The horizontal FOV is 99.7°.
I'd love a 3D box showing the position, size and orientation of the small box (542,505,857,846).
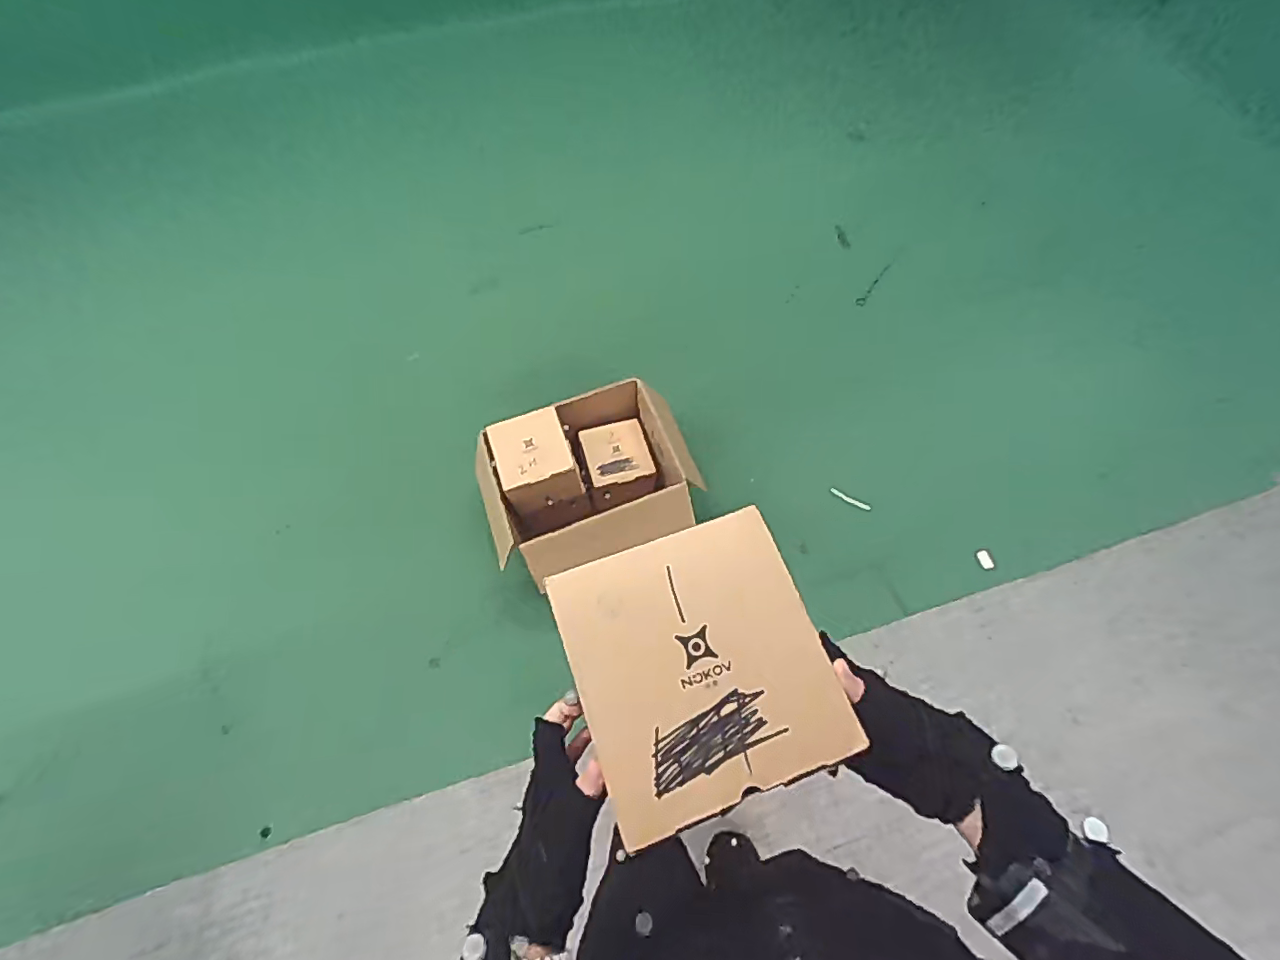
[{"bbox_3d":[0.033,0.146,0.432,0.168,0.176,0.179,-18,70,-9],"label":"small box"}]
